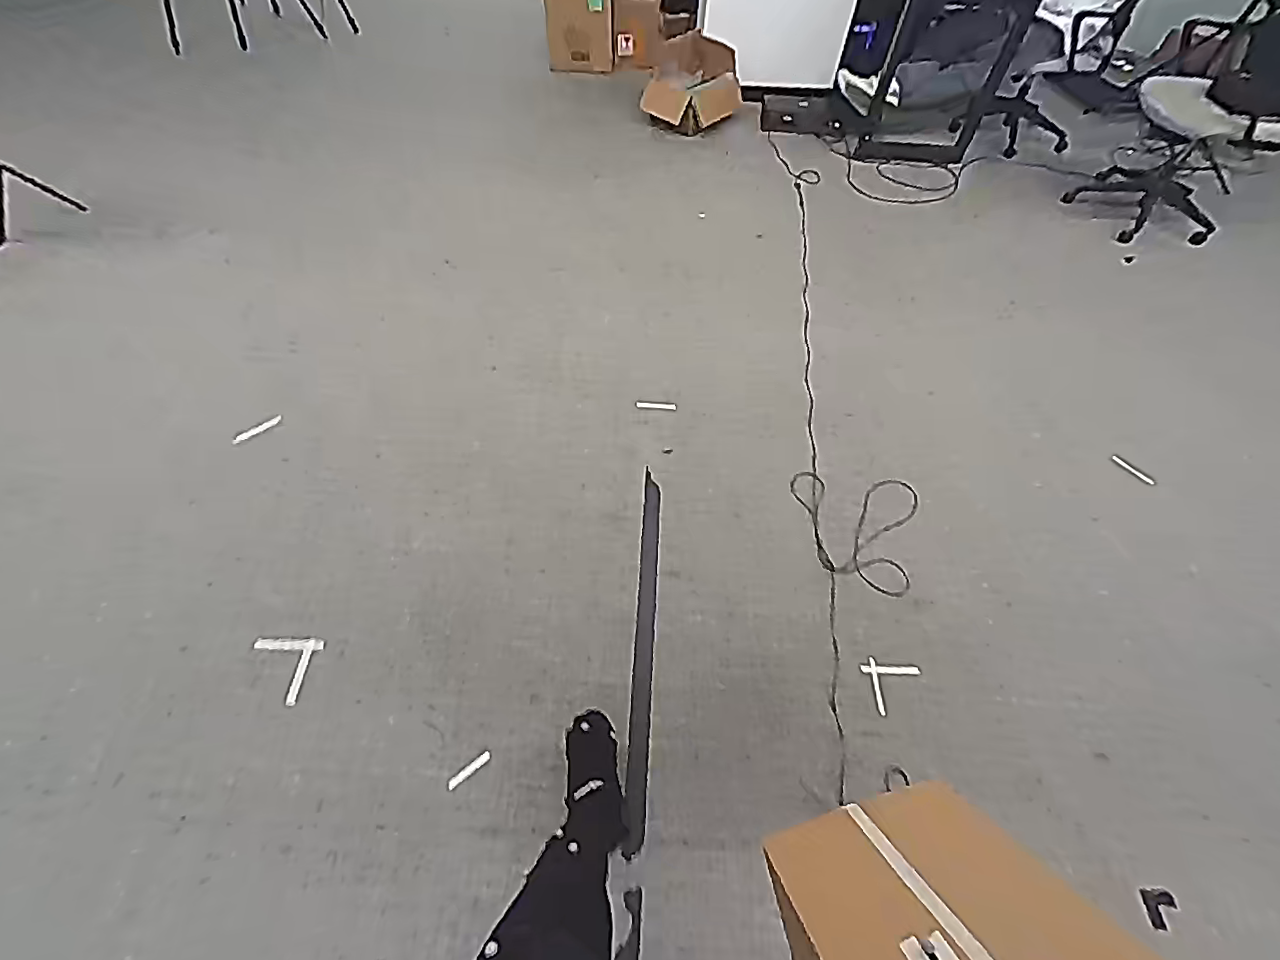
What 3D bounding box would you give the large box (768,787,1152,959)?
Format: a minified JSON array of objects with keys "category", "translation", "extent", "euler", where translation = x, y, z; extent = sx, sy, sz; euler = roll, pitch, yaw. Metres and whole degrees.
[{"category":"large box","translation":[0.404,0.678,0.673],"extent":[0.320,0.408,0.320],"euler":[-15,92,-6]}]
